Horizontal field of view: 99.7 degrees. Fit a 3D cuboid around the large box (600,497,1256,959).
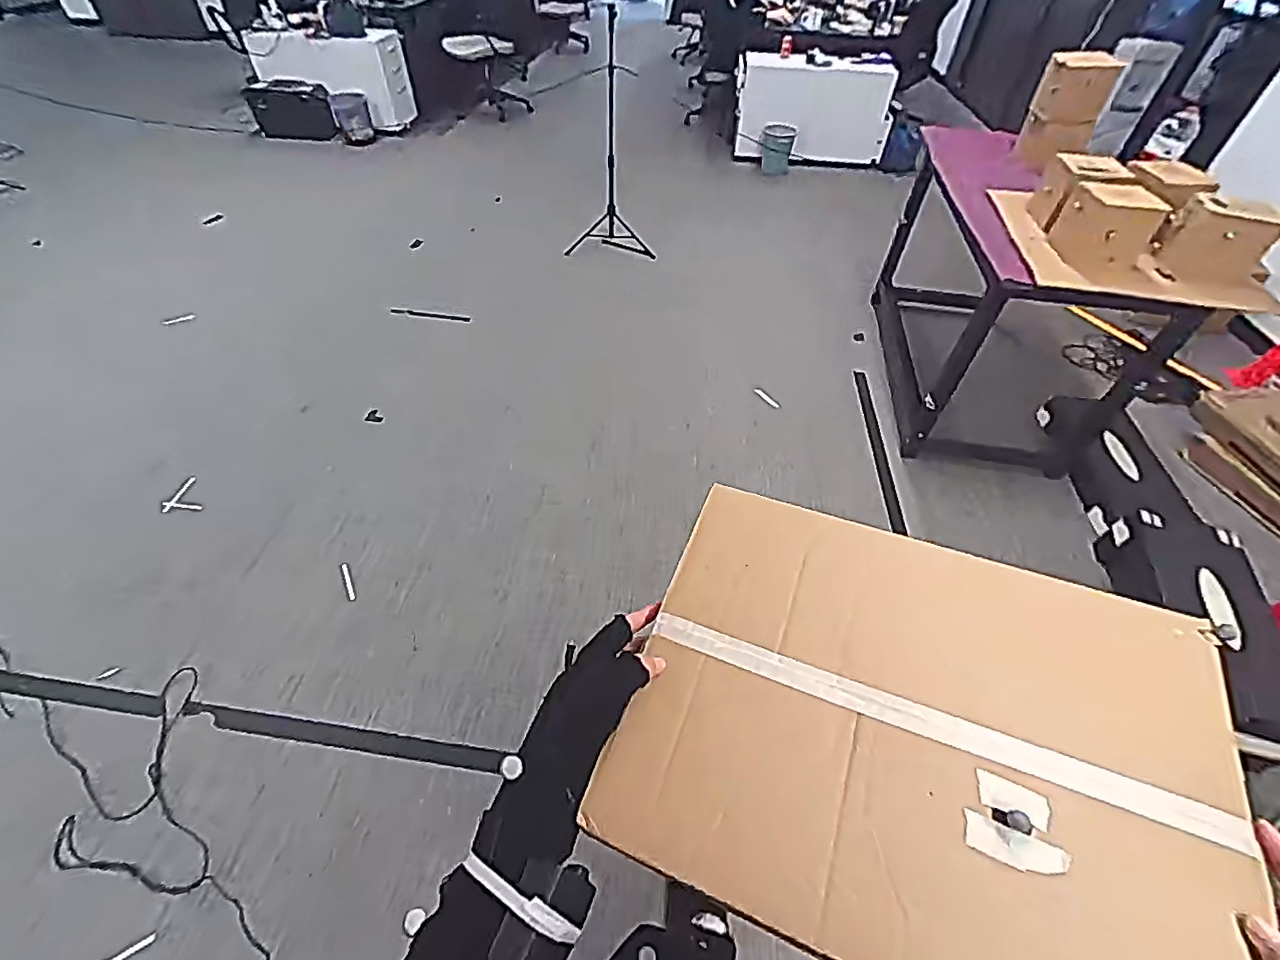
[{"bbox_3d":[0.217,0.269,0.531,0.408,0.320,0.320,16,57,17],"label":"large box"}]
